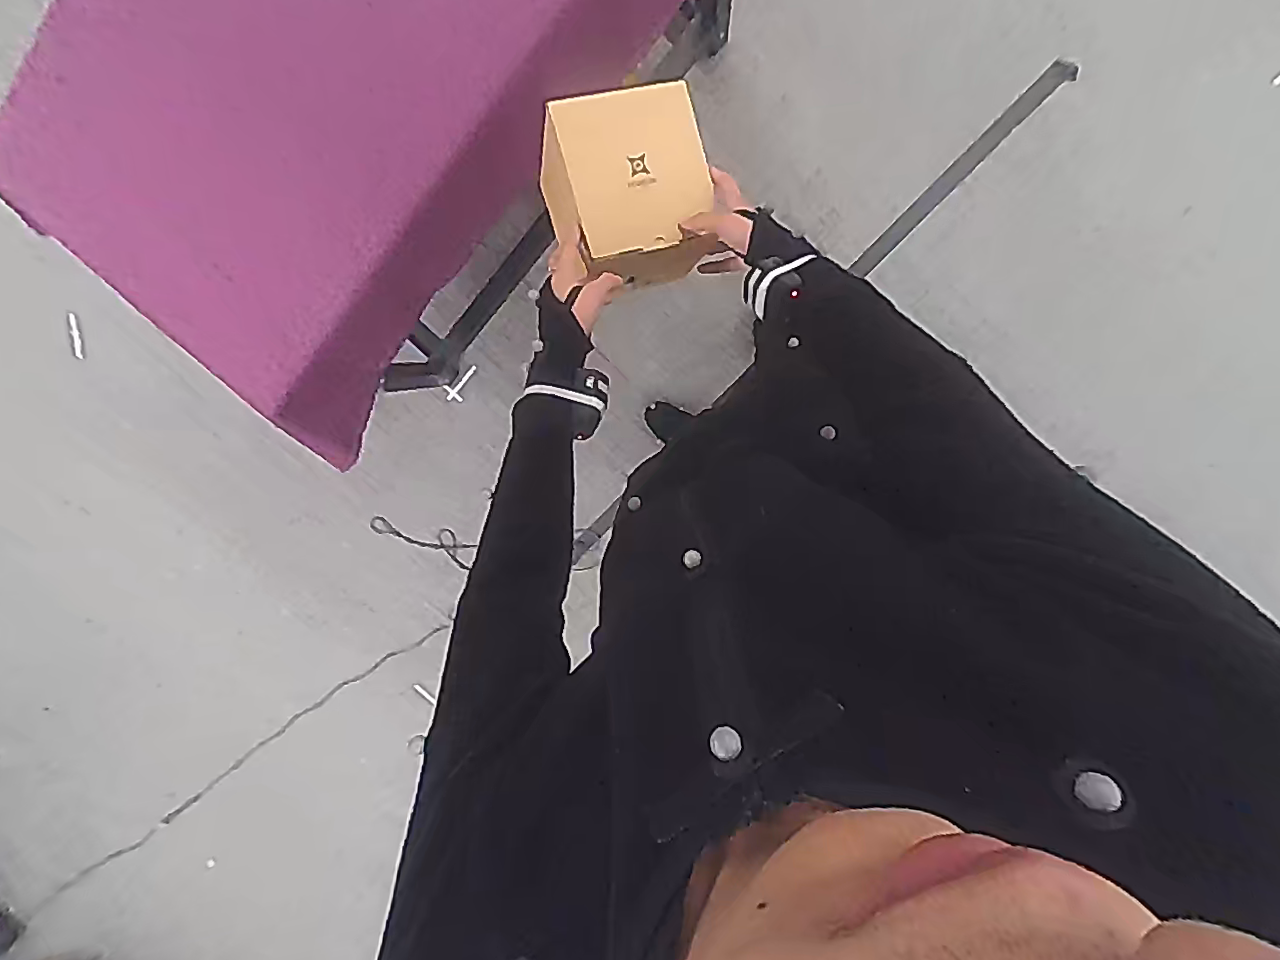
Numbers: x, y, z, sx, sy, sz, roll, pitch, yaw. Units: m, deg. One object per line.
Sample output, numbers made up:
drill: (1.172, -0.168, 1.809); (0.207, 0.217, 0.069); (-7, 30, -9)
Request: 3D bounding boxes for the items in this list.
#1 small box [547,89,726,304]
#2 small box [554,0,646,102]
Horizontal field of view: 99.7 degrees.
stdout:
small box: (-0.015, -0.348, 0.689); (0.168, 0.176, 0.179); (-17, 95, -12)
small box: (-0.093, -1.045, 1.331); (0.179, 0.176, 0.168); (15, 104, 3)
